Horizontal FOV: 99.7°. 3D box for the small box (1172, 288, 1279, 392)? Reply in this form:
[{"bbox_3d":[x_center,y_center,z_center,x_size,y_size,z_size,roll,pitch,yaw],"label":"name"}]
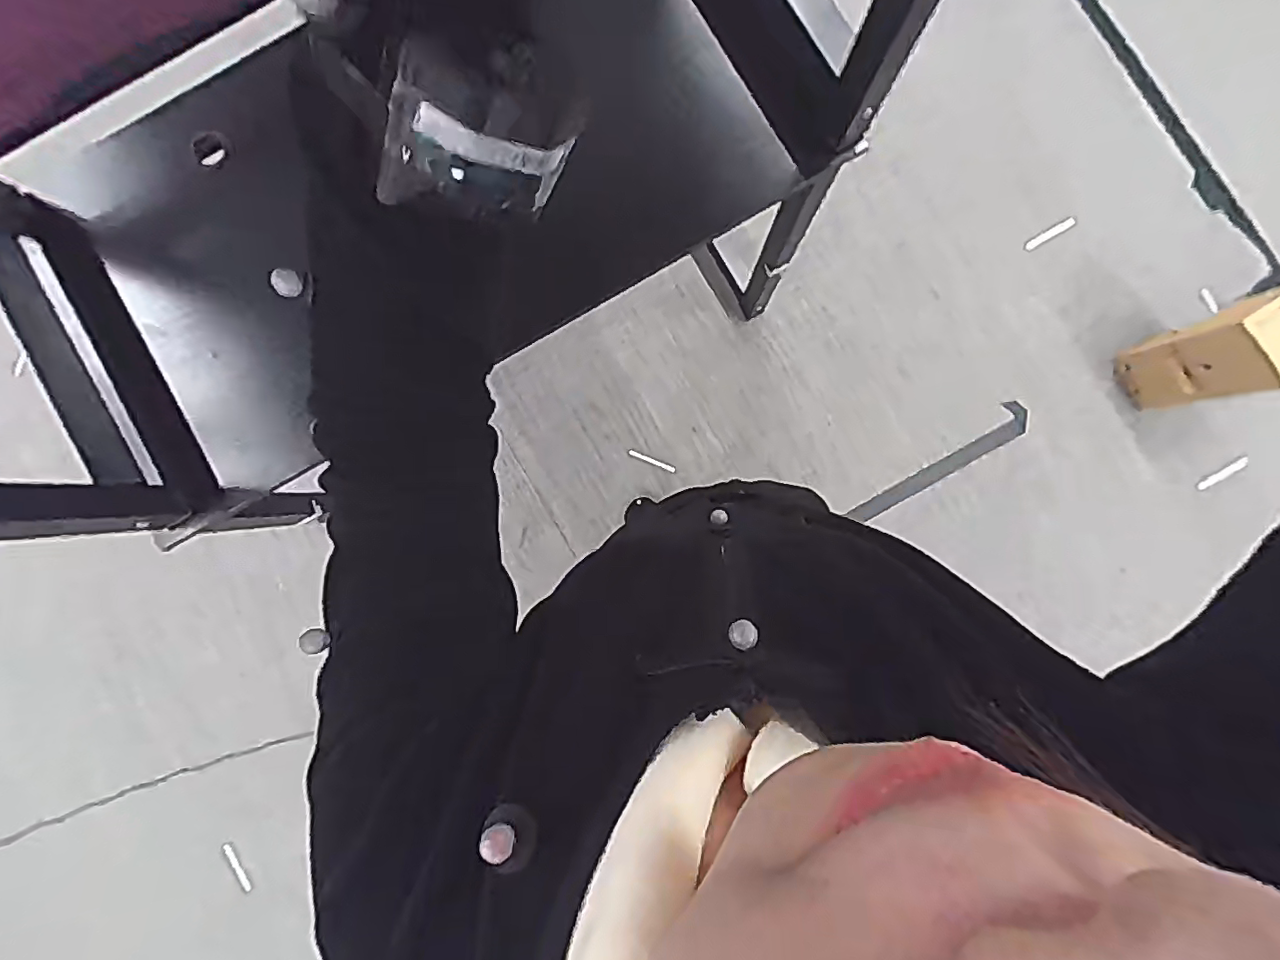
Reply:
[{"bbox_3d":[1.395,-0.316,1.227,0.168,0.176,0.179,-33,89,0],"label":"small box"}]

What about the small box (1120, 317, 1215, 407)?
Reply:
[{"bbox_3d":[1.400,-0.306,1.391,0.179,0.176,0.168,-28,88,0],"label":"small box"}]
